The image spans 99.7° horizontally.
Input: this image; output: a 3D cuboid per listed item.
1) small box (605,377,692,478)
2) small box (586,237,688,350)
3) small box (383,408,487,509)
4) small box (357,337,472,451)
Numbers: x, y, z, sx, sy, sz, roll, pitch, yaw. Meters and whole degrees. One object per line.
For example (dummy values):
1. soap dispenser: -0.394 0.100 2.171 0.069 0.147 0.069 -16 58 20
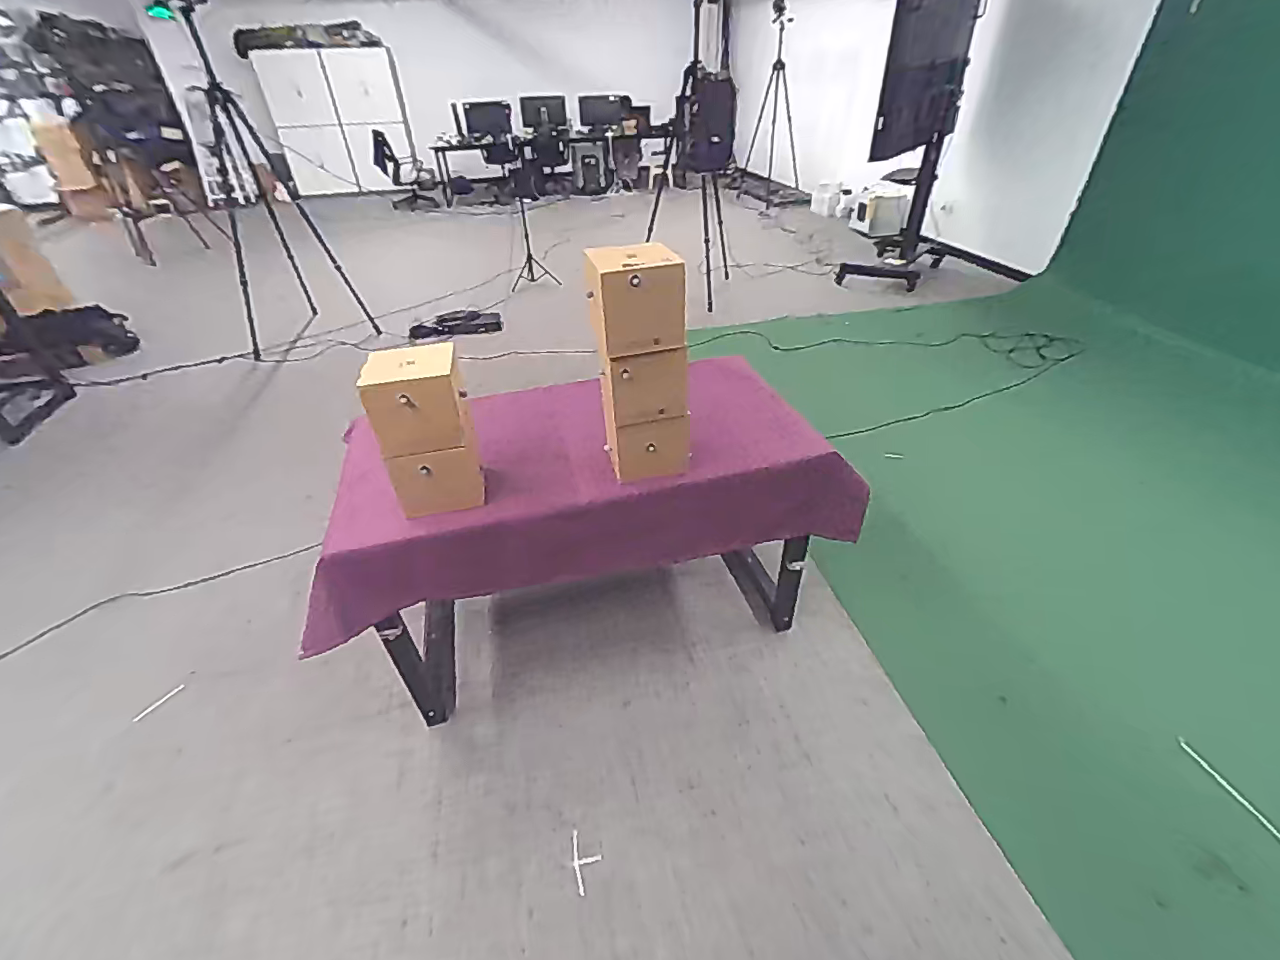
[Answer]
1. small box: 0.018 -0.126 1.304 0.179 0.176 0.168 -10 38 -8
2. small box: -0.009 -0.377 1.090 0.168 0.176 0.179 -12 37 -10
3. small box: -0.457 -0.050 1.232 0.179 0.176 0.168 -9 39 -9
4. small box: -0.458 -0.180 1.133 0.179 0.176 0.168 -10 38 -8
